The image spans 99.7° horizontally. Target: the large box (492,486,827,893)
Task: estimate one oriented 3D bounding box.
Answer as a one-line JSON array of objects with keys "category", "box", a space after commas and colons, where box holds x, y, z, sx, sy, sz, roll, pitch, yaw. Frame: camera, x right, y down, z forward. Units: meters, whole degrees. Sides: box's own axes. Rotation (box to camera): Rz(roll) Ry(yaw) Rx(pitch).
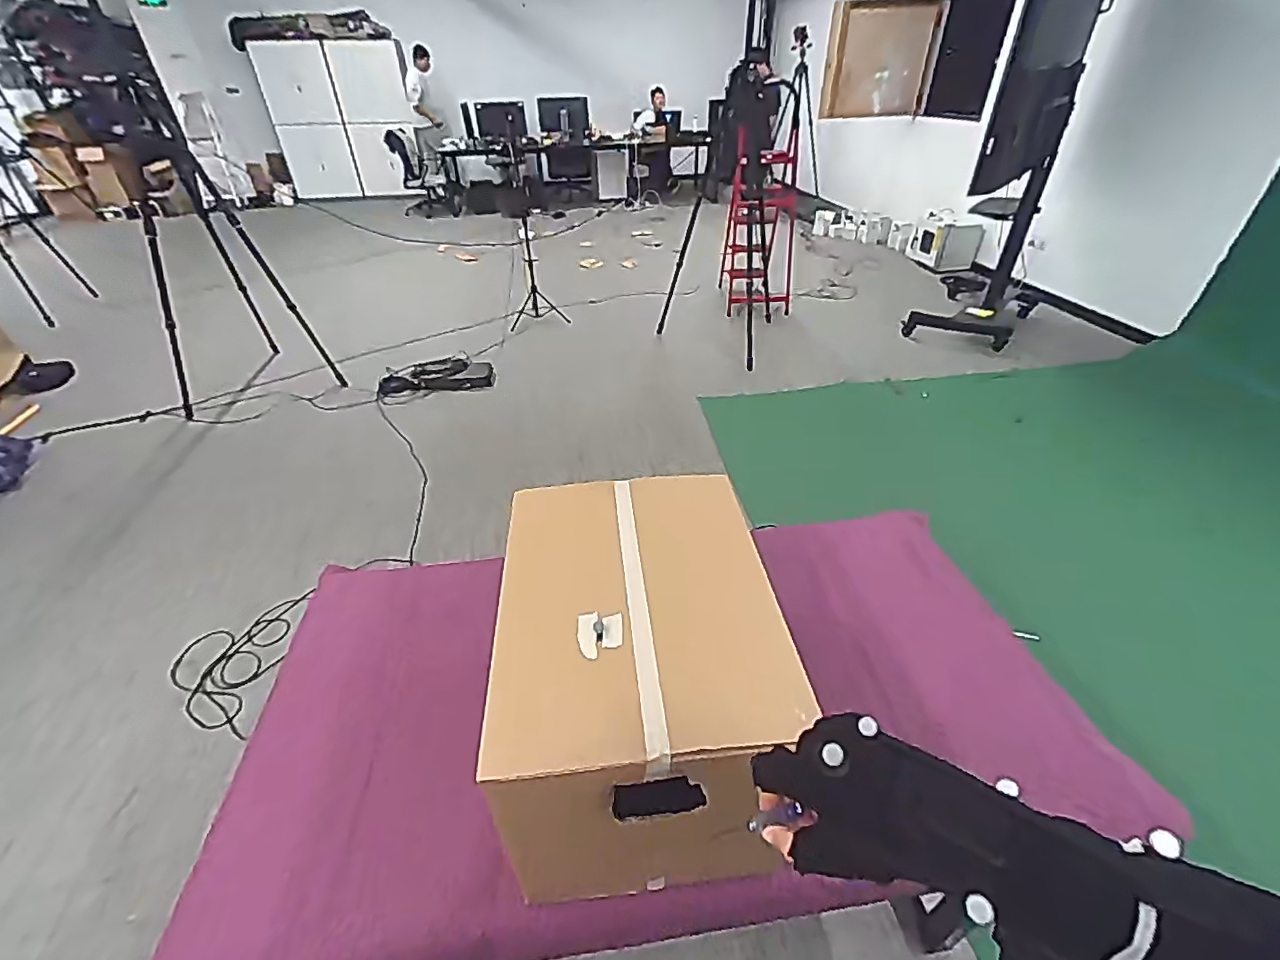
[{"category": "large box", "box": [-0.002, 0.253, 0.729, 0.320, 0.320, 0.408, -4, 37, -4]}]
